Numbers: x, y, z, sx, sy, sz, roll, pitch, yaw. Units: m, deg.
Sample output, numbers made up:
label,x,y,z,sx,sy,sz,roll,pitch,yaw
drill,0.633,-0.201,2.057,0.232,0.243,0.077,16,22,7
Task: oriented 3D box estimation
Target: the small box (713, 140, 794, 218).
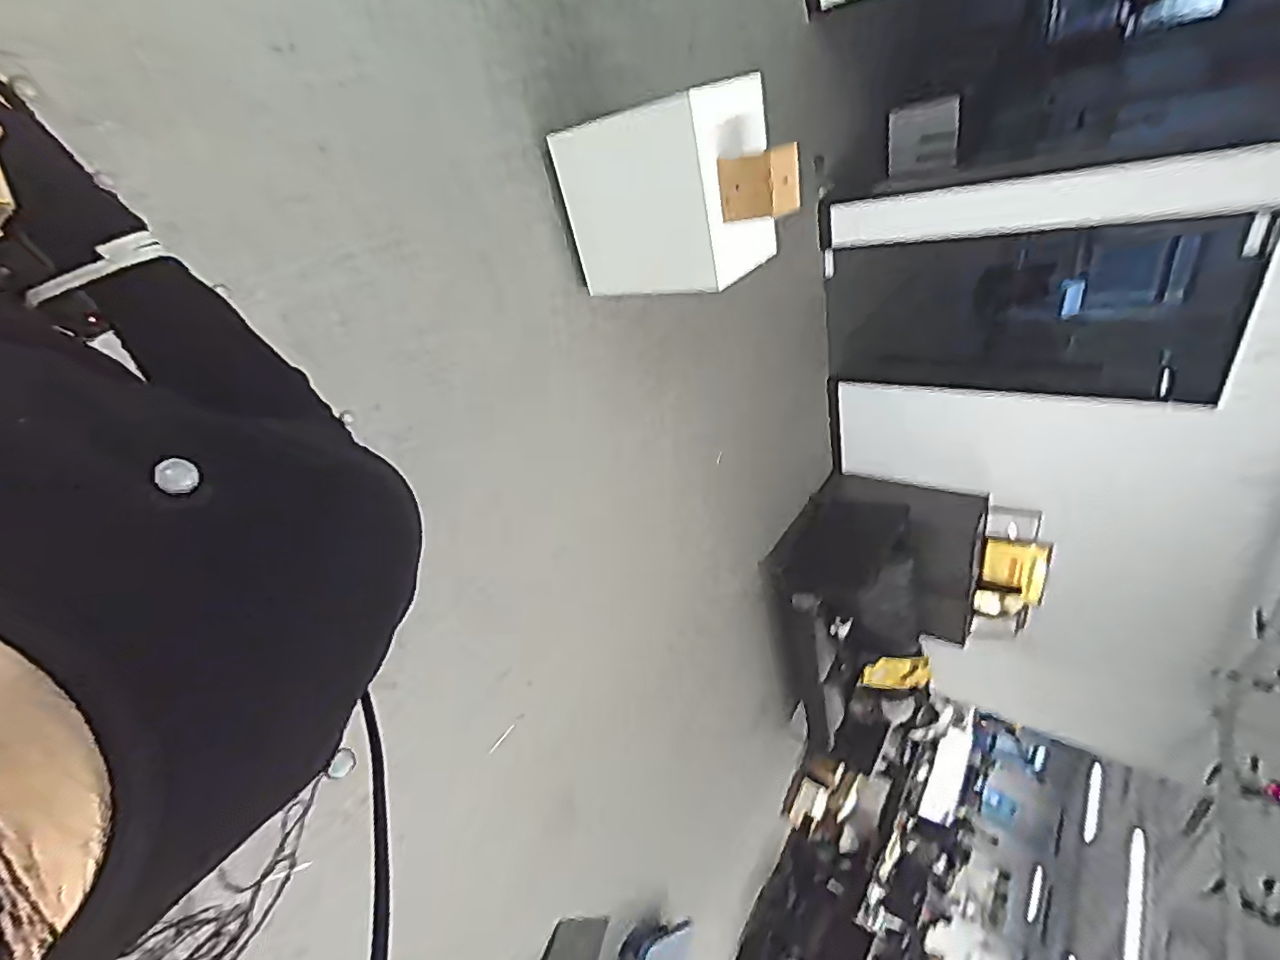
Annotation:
label,x,y,z,sx,sy,sz,roll,pitch,yaw
small box,0.331,-0.870,1.568,0.179,0.176,0.168,-41,130,-38
